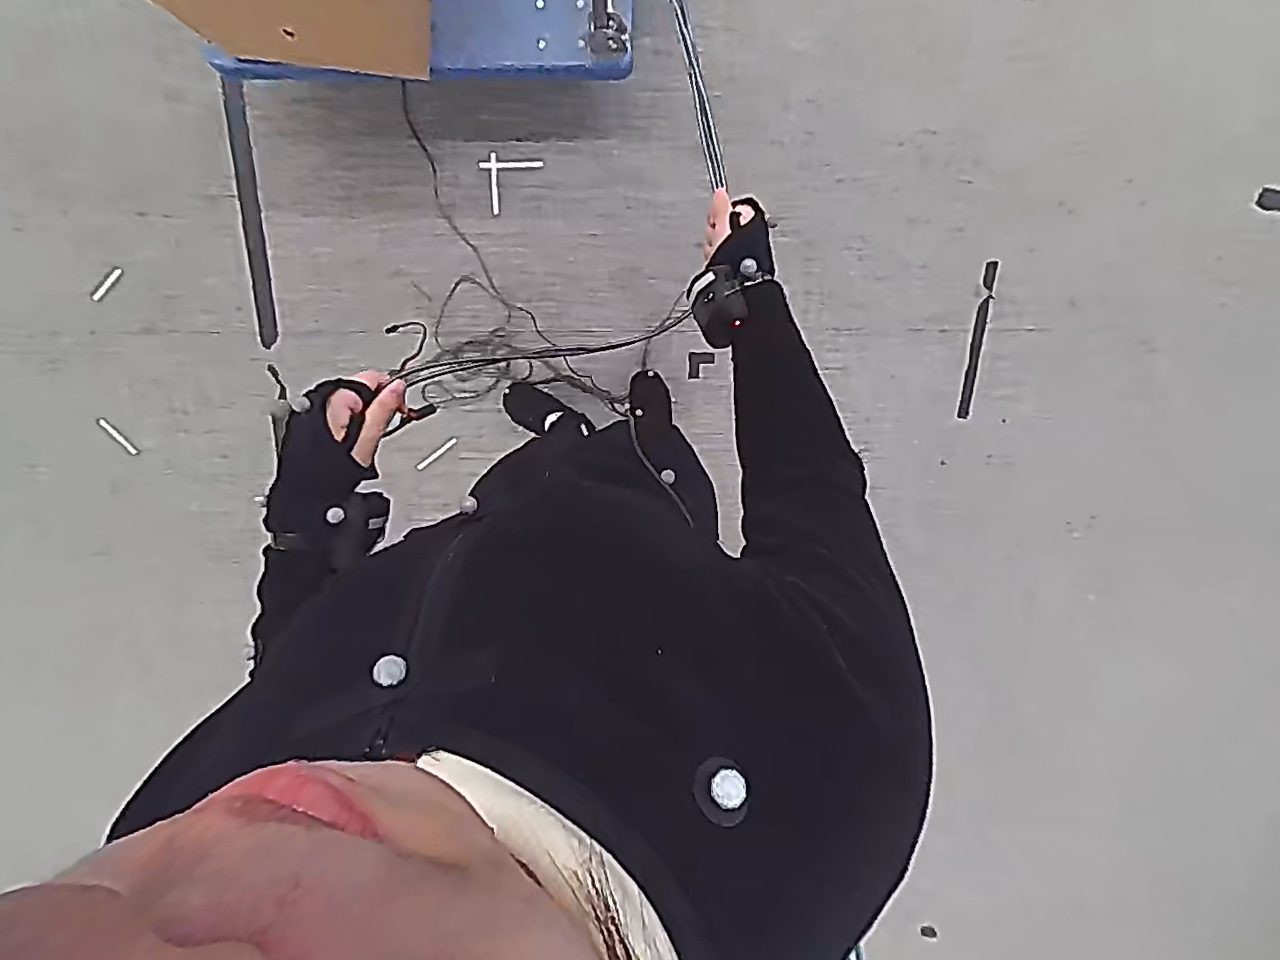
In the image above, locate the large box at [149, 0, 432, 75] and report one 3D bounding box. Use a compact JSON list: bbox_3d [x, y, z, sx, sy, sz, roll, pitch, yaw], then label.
[{"bbox_3d":[-0.605,-0.936,0.907,0.408,0.320,0.320,5,104,-2],"label":"large box"}]
